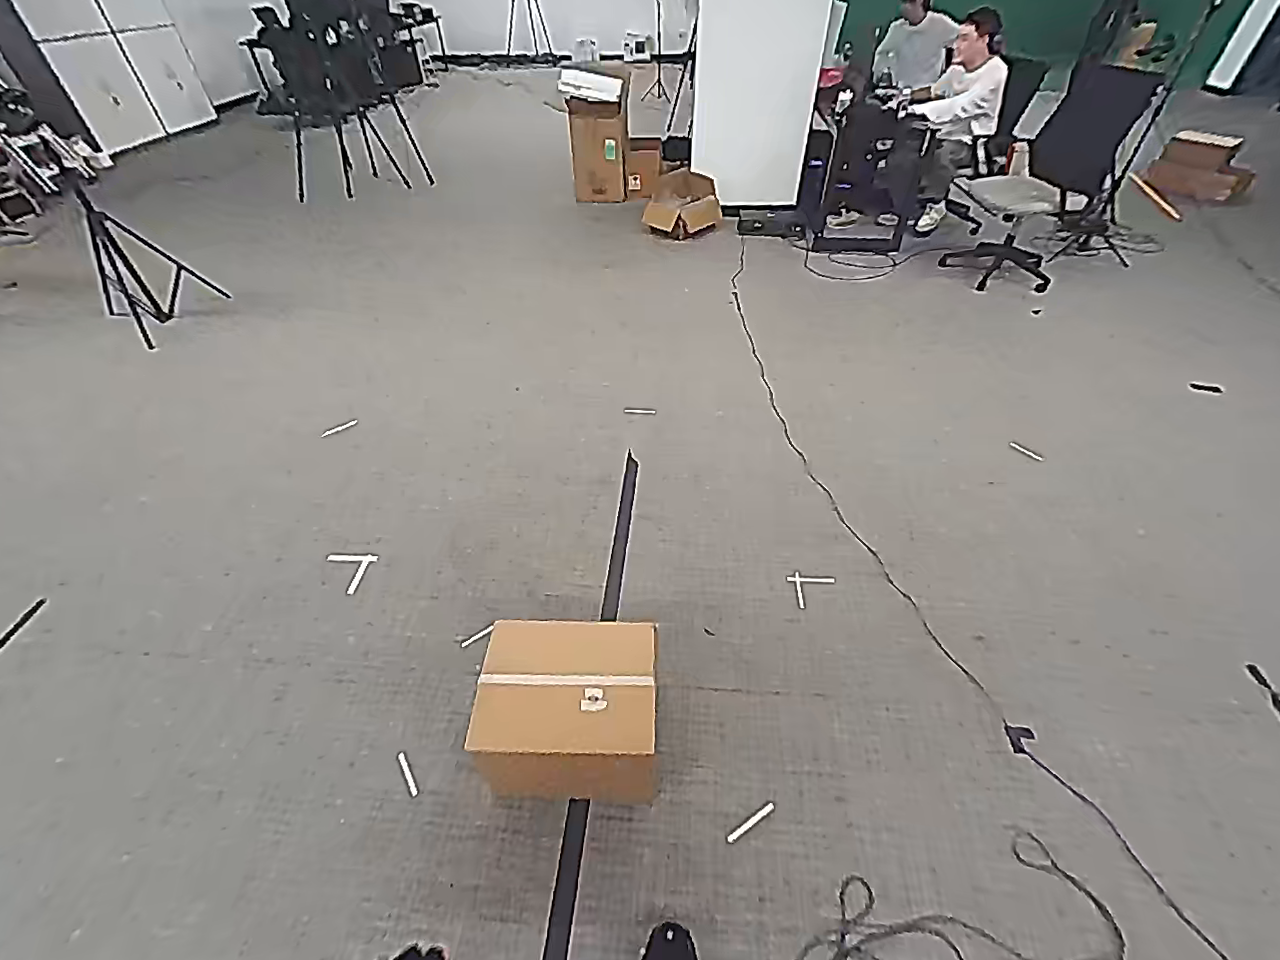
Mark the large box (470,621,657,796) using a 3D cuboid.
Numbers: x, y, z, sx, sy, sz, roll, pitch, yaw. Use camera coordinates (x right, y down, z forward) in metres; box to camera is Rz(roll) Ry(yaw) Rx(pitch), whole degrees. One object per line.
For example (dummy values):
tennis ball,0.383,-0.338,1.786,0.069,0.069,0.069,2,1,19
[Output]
large box,-0.164,0.569,1.348,0.408,0.320,0.320,1,44,1
